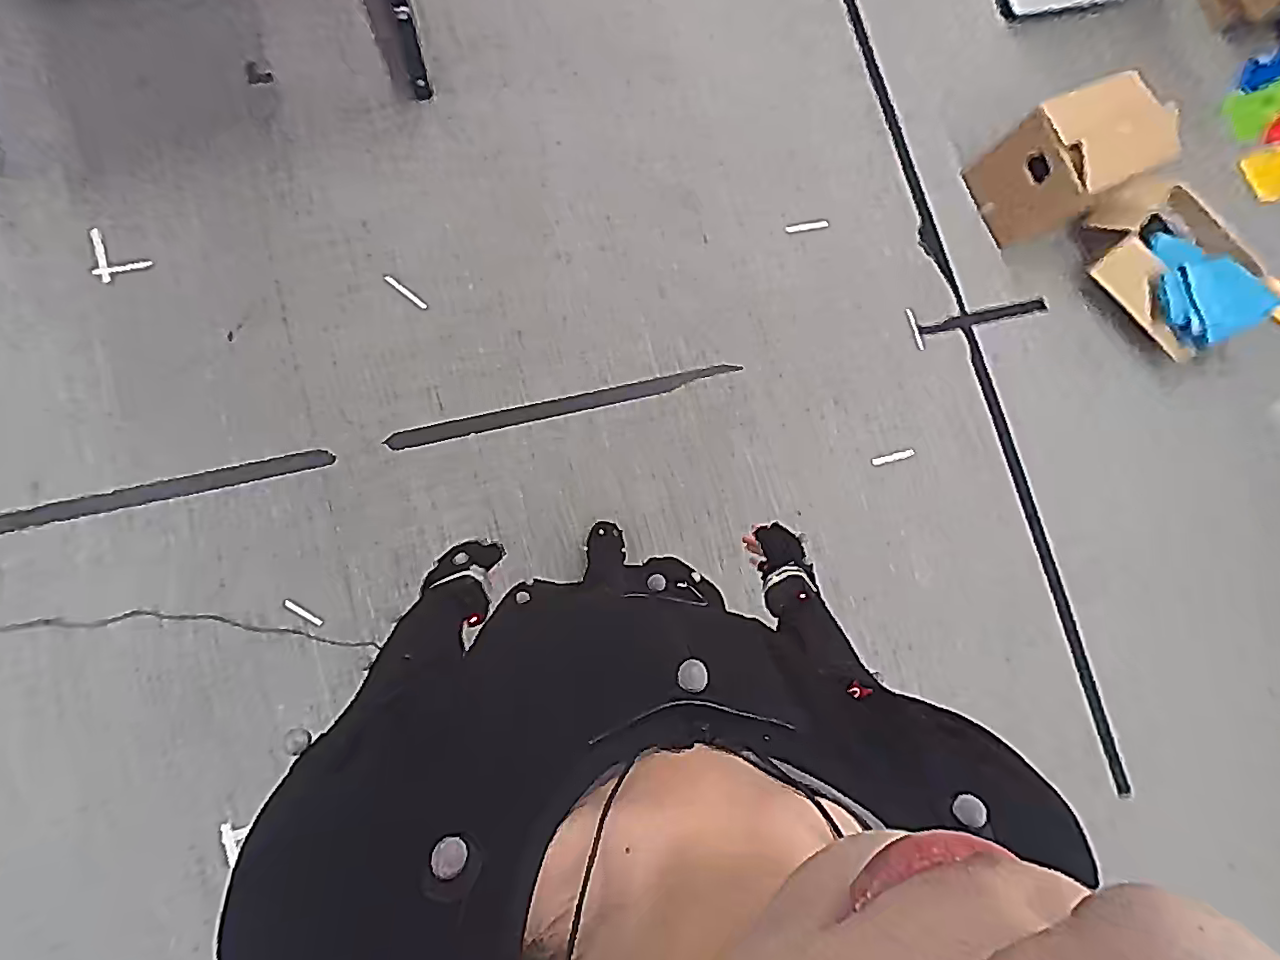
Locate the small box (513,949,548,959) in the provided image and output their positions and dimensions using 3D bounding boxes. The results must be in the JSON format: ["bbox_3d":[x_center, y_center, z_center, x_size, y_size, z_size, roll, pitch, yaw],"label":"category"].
[{"bbox_3d":[-0.274,1.237,1.225,0.168,0.176,0.179,-16,85,-10],"label":"small box"}]
